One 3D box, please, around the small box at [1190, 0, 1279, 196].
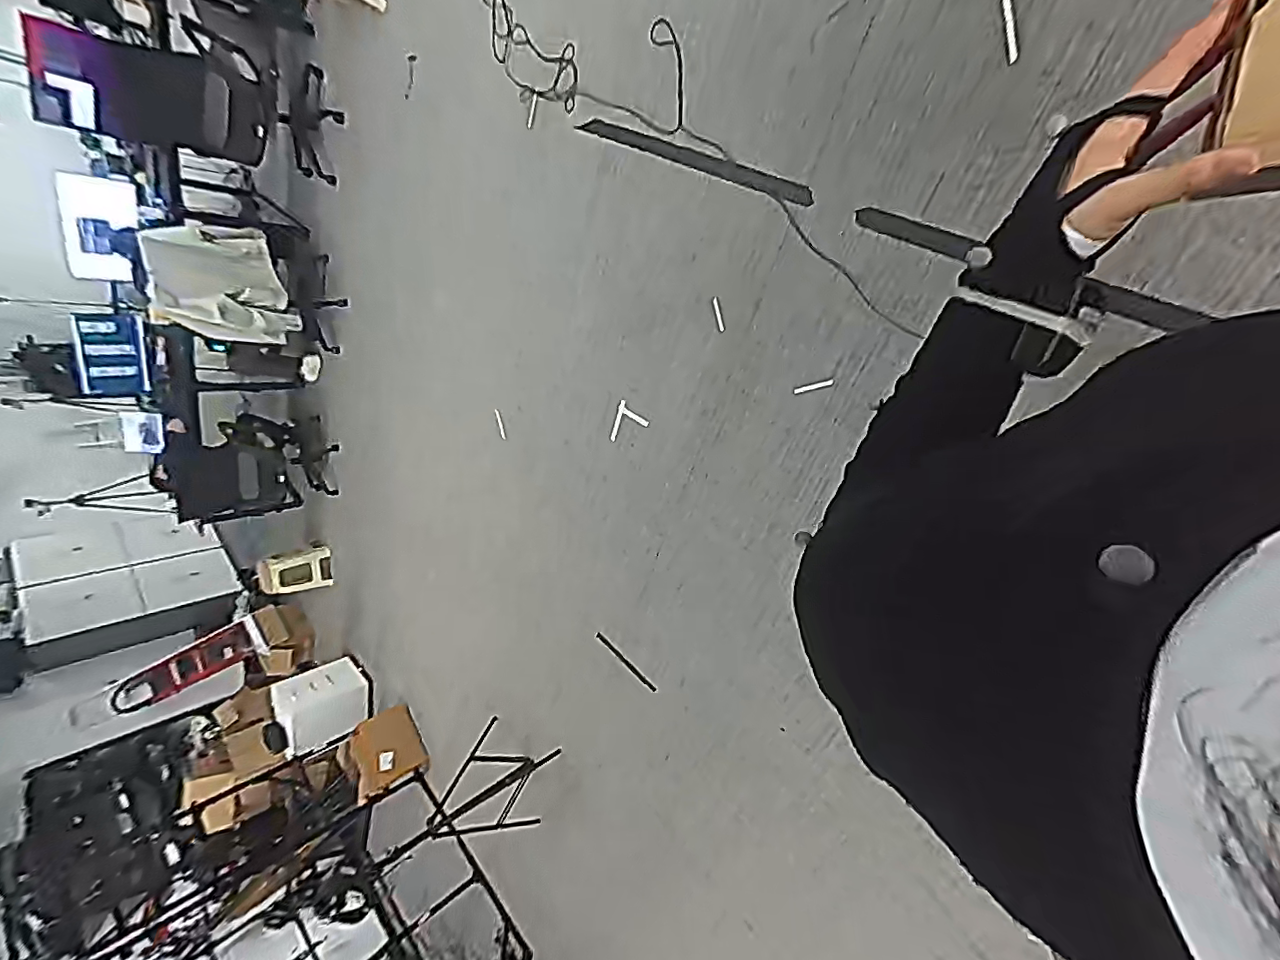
[{"bbox_3d":[0.429,-0.259,0.283,0.179,0.176,0.168,10,113,39],"label":"small box"}]
